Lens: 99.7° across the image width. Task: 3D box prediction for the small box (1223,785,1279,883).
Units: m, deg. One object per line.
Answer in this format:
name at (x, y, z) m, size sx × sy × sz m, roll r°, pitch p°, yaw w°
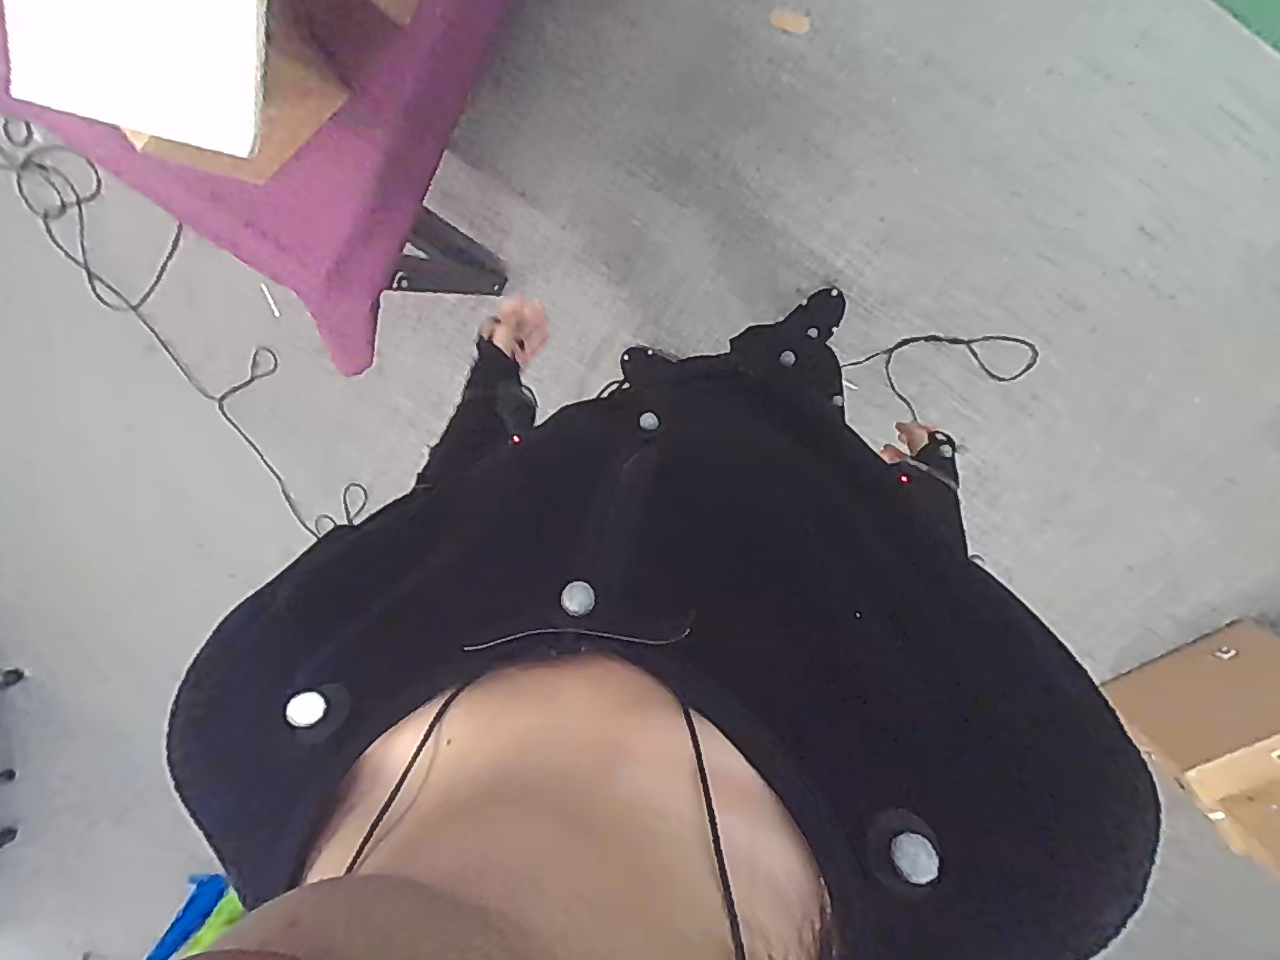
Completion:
small box at (1.478, 0.818, 1.196) m, size 0.168 × 0.176 × 0.179 m, roll -36°, pitch 101°, yaw 16°
